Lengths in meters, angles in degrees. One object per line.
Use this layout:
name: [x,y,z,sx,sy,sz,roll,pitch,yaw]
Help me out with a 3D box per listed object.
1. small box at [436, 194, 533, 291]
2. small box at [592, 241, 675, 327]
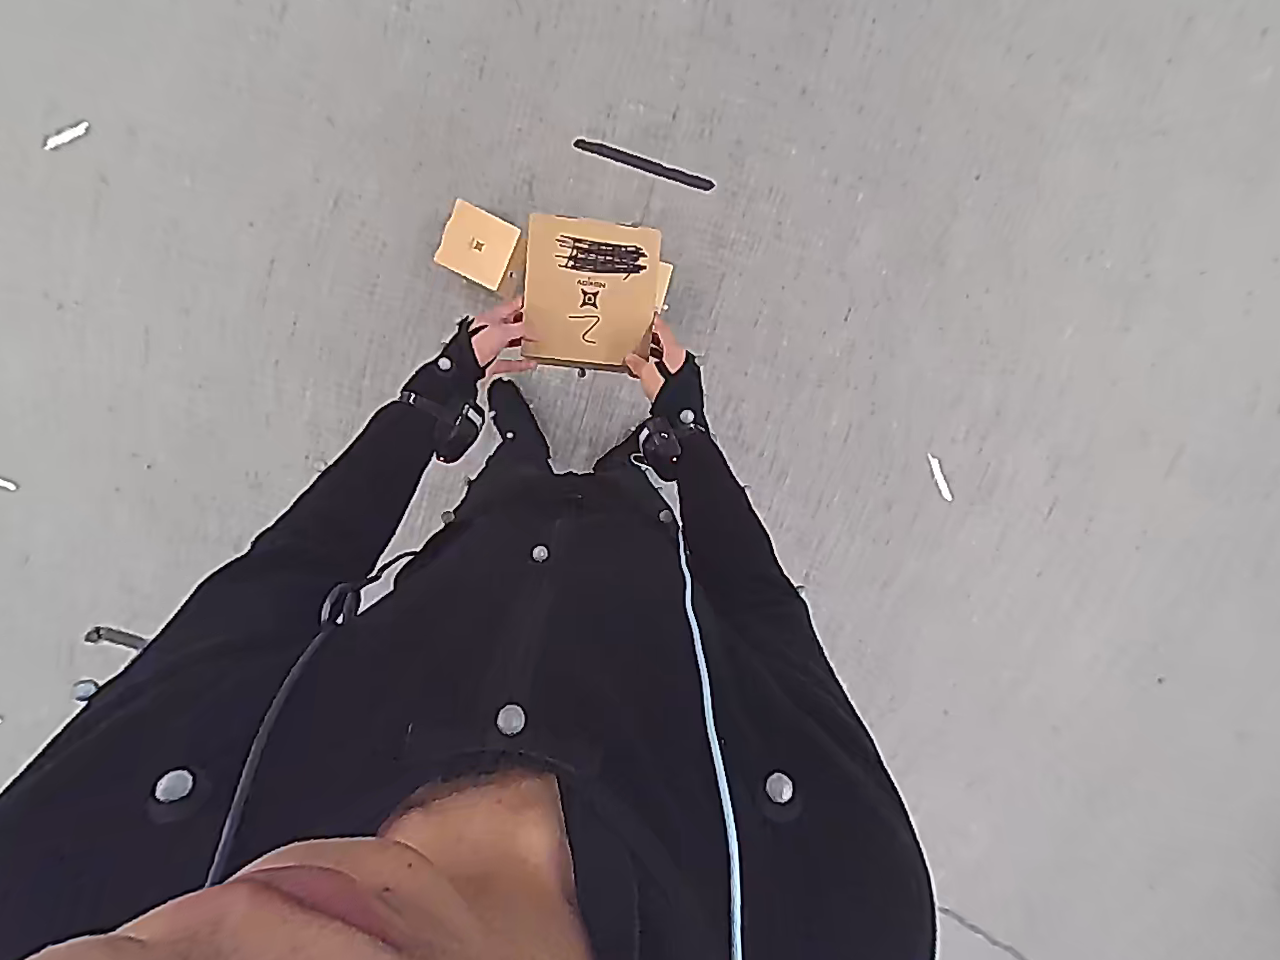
small box: [-0.400,-0.615,1.428,0.179,0.176,0.168,26,100,-4]
small box: [-0.018,-0.515,1.448,0.179,0.176,0.168,16,101,-4]
